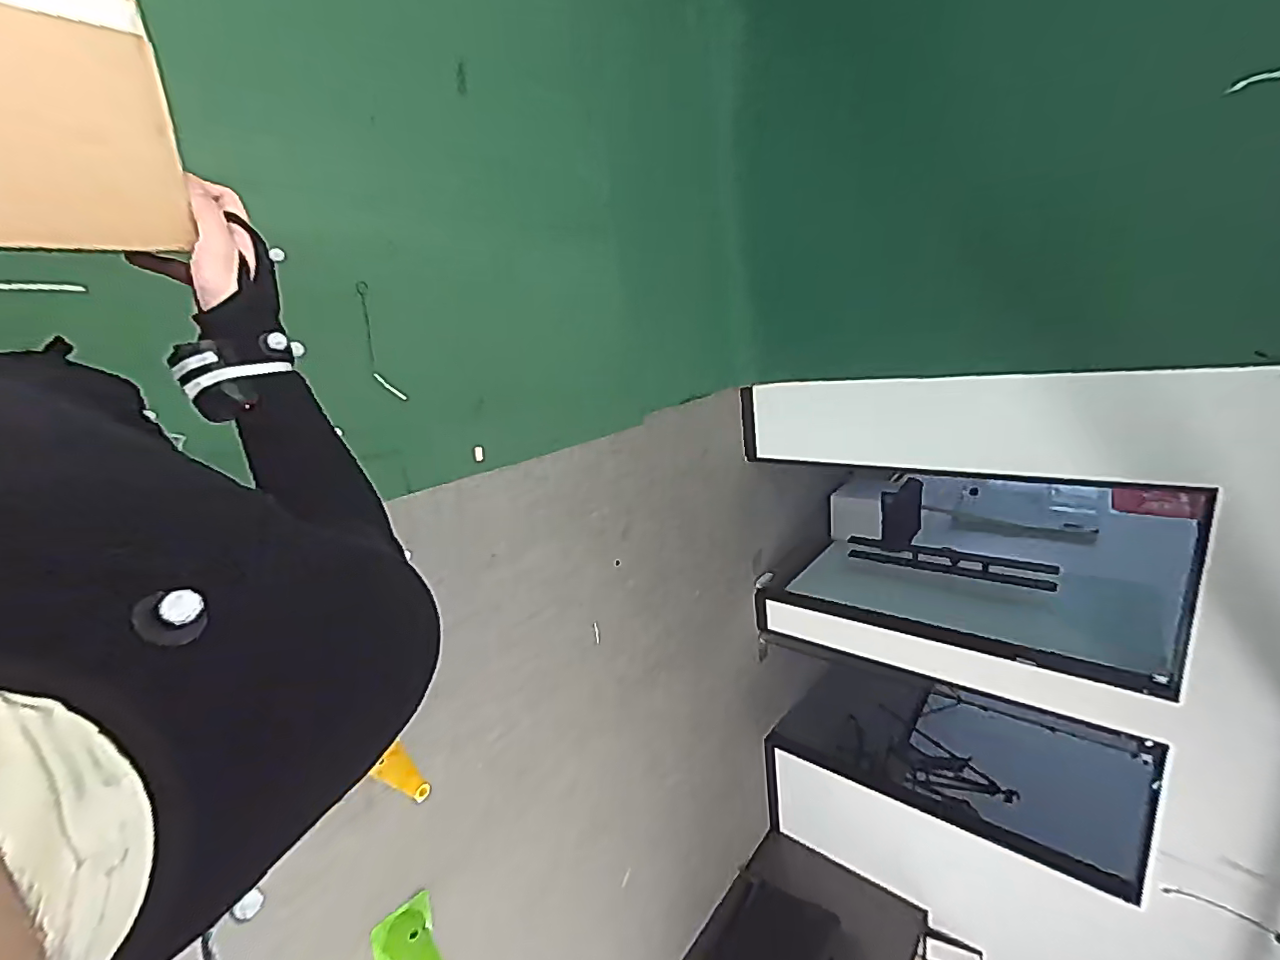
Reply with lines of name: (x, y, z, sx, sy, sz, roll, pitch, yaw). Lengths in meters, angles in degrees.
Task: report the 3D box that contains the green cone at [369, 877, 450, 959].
green cone: (-0.701, 1.538, 1.772, 0.200, 0.368, 0.202, -15, 106, -48)
